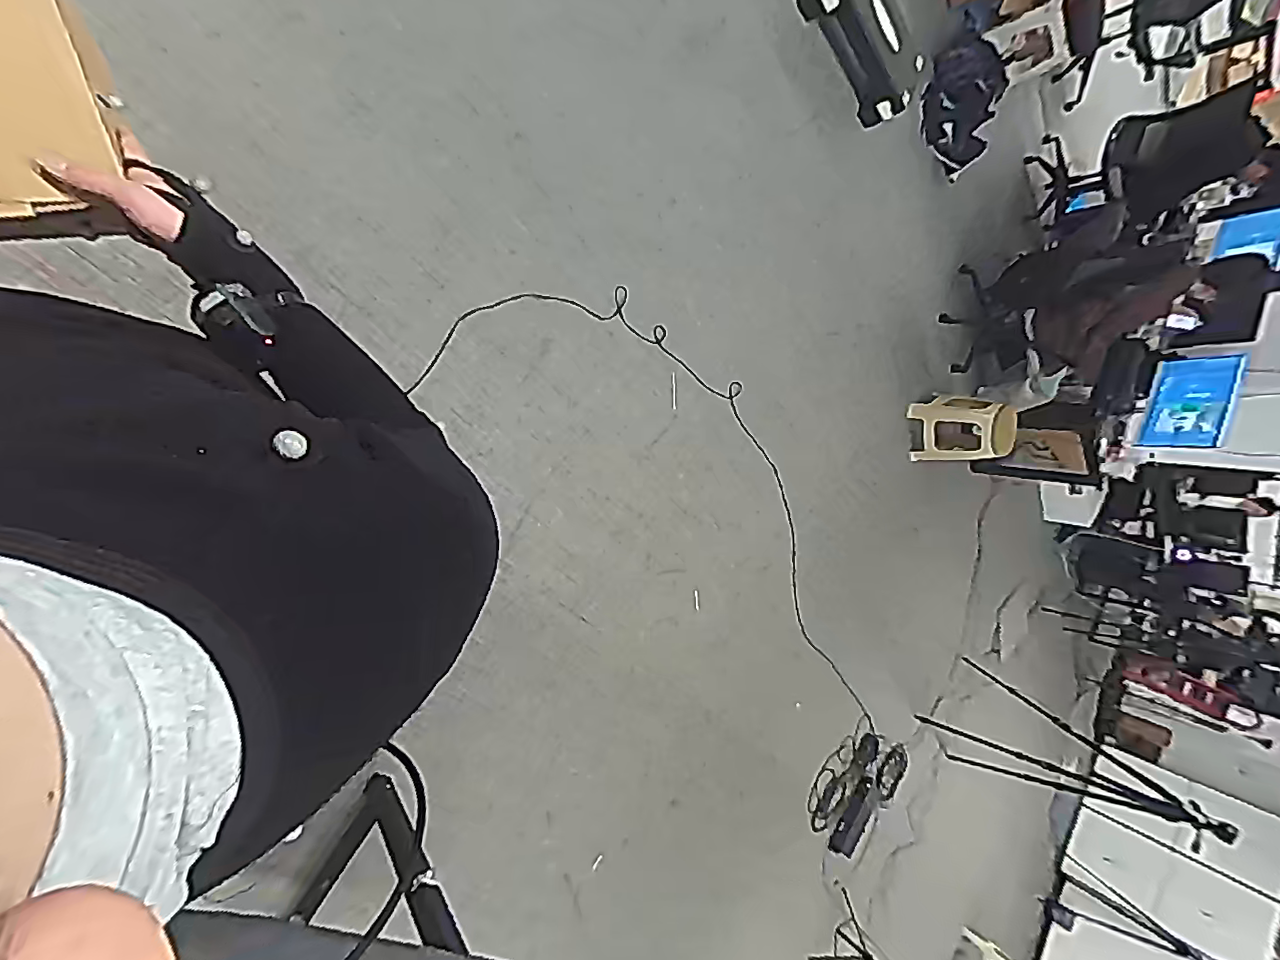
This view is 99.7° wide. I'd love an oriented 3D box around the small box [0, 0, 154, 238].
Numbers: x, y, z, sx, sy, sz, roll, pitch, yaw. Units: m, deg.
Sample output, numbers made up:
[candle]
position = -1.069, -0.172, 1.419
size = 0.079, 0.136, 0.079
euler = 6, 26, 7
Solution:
[small box]
position = -0.537, -0.298, 0.437
size = 0.168, 0.176, 0.179
euler = -19, 112, -30
